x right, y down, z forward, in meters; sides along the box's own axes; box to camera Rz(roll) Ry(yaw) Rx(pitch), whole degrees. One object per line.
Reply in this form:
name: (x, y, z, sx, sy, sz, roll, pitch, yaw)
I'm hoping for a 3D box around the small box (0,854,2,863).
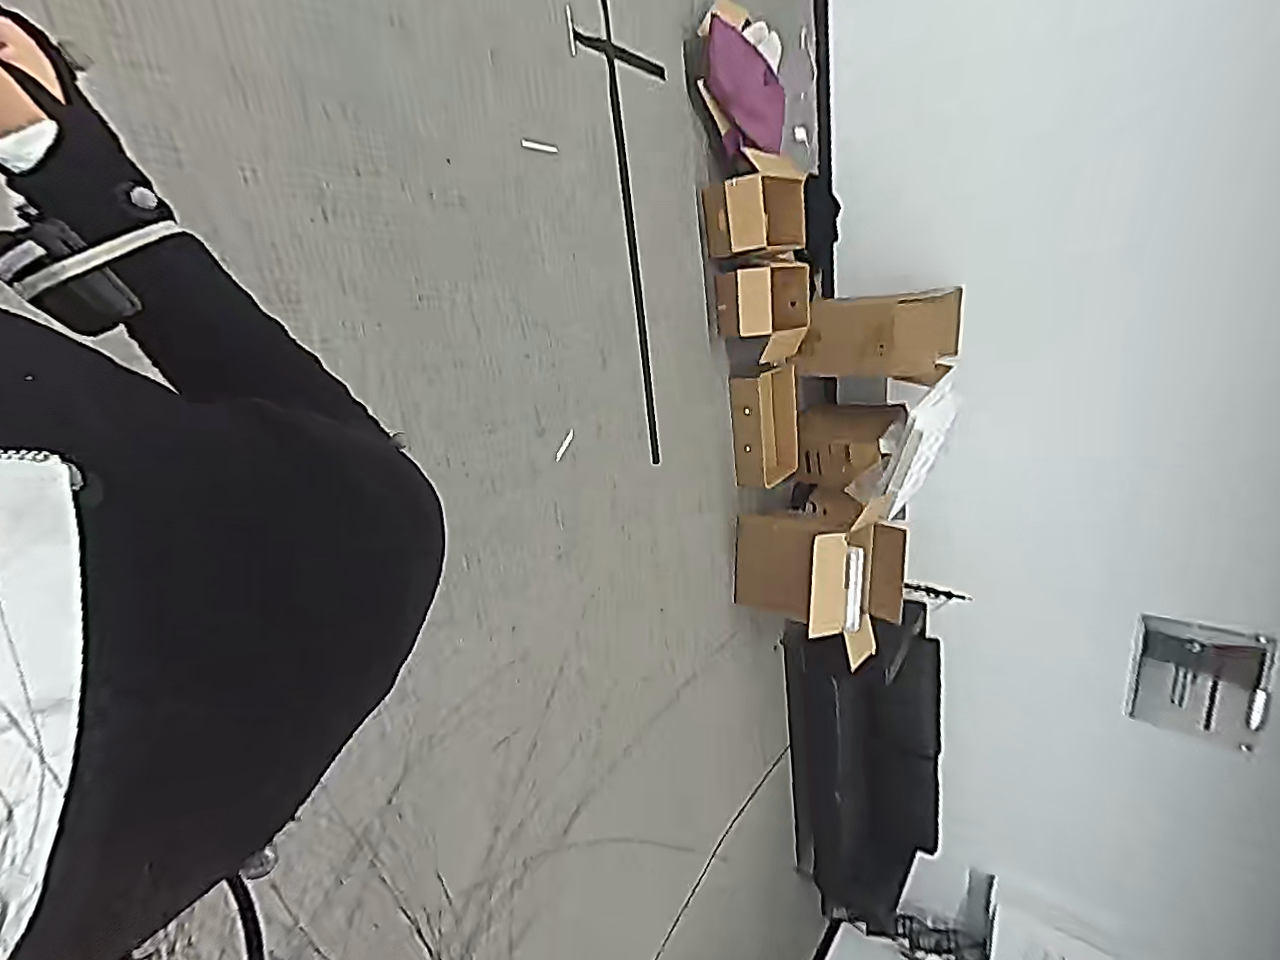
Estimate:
small box: (-1.009, 0.471, 0.718, 0.168, 0.176, 0.179, -31, 118, -44)
